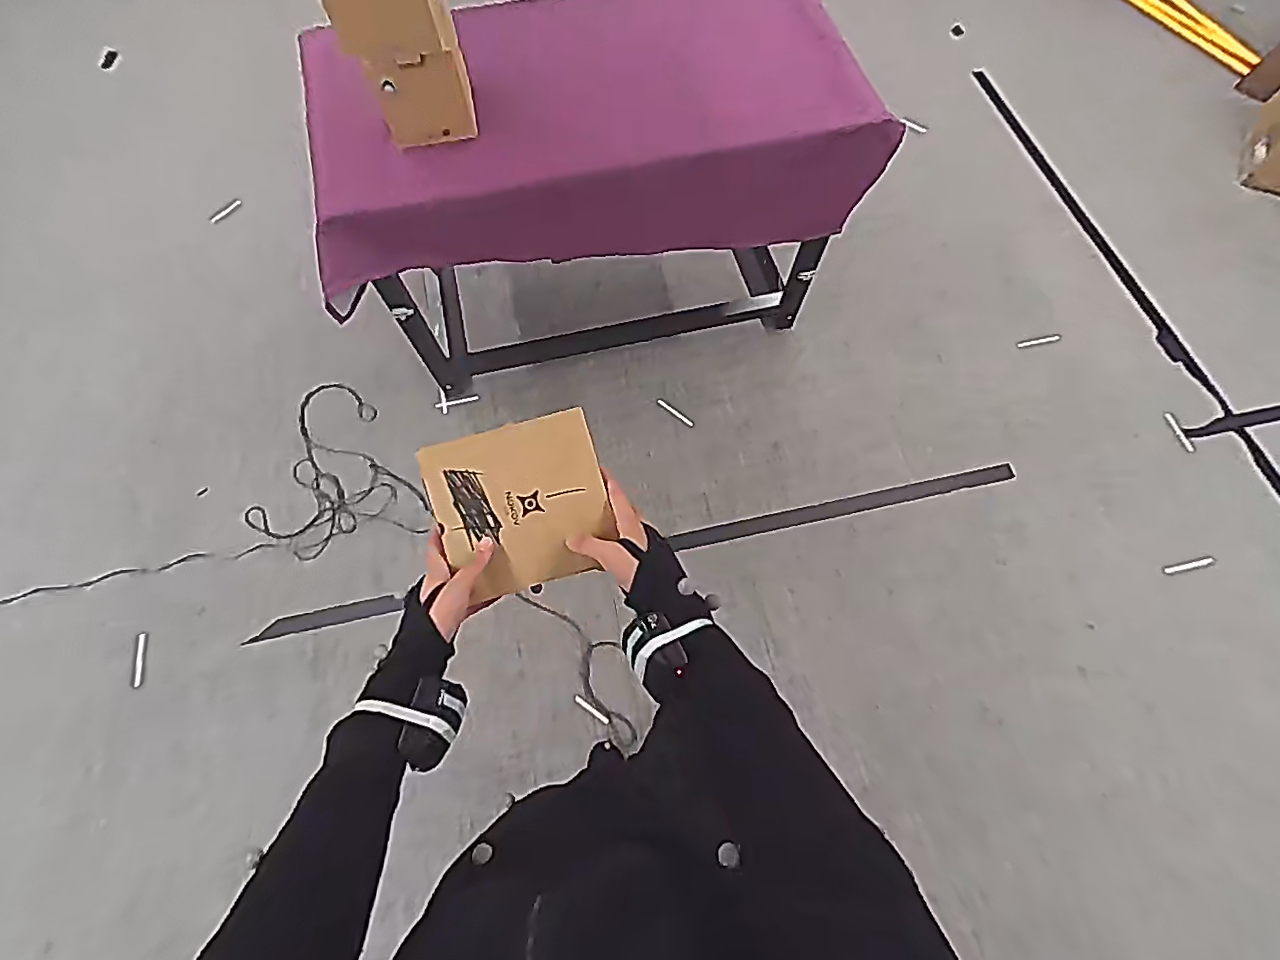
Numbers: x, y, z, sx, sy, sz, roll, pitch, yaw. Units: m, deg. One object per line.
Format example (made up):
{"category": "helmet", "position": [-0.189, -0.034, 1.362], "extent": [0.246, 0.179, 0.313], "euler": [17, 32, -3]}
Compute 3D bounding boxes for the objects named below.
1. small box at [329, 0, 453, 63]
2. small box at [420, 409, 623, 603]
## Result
{"category": "small box", "position": [-0.442, -0.862, 0.939], "extent": [0.179, 0.176, 0.168], "euler": [-5, 69, -3]}
{"category": "small box", "position": [-0.132, 0.030, 0.635], "extent": [0.179, 0.176, 0.168], "euler": [-16, 89, -10]}
